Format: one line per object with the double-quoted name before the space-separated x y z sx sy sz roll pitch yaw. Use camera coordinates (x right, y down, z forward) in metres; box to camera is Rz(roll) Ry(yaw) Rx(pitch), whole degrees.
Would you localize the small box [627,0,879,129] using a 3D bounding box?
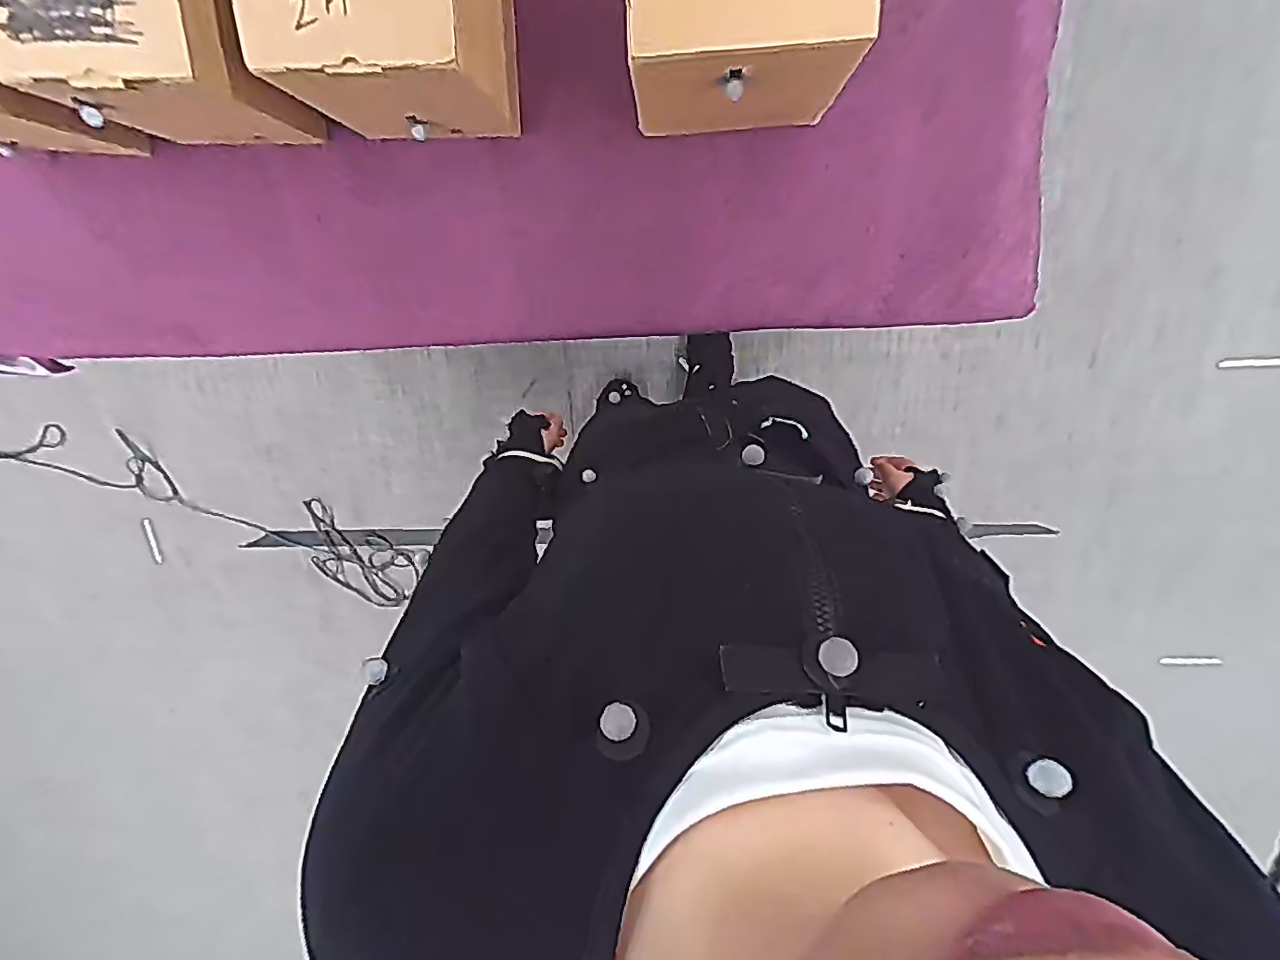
"small box" 0.081 -0.405 0.434 0.179 0.176 0.168 -1 106 5
